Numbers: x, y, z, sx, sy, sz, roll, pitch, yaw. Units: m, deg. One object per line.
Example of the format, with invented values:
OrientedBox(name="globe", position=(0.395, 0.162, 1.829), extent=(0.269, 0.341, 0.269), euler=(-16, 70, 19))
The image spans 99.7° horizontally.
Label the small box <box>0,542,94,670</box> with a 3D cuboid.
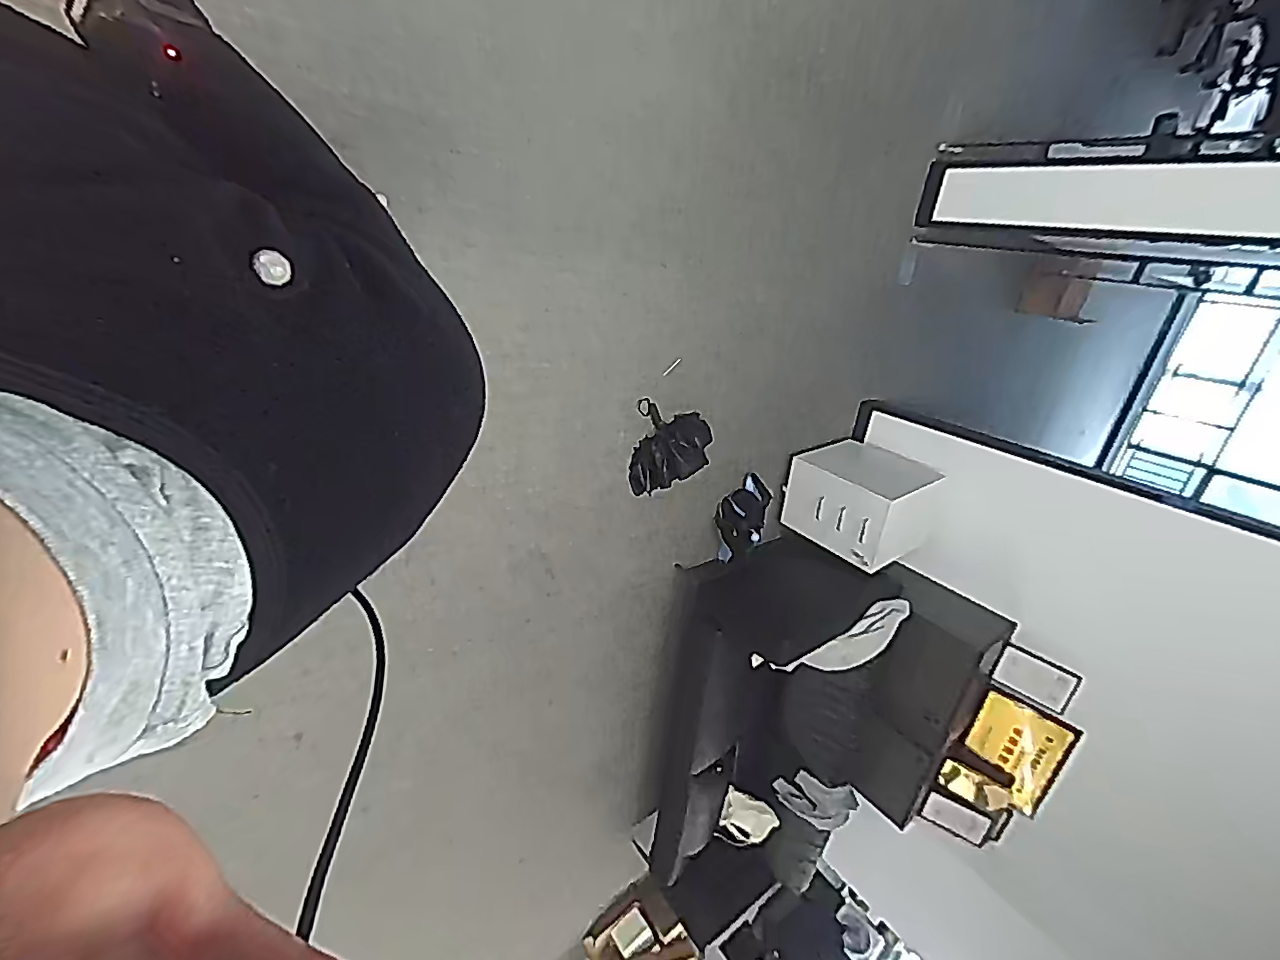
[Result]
OrientedBox(name="small box", position=(-1.302, 0.258, 1.132), extent=(0.179, 0.176, 0.168), euler=(-52, 135, -6))
